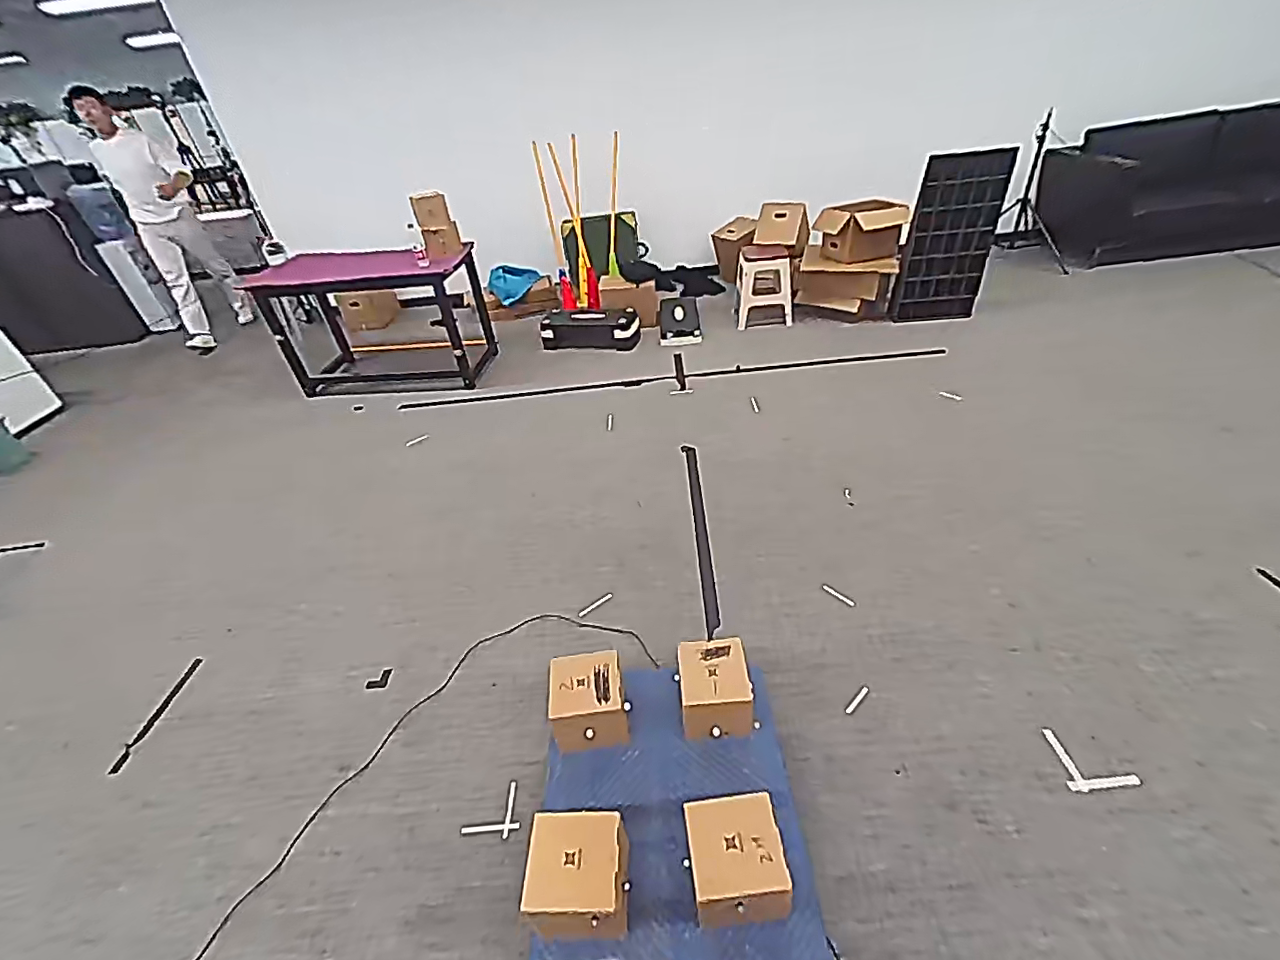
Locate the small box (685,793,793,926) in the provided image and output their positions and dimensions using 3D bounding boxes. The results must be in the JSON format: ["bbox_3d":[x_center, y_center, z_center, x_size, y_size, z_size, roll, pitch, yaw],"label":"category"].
[{"bbox_3d":[0.192,0.753,1.072,0.179,0.176,0.168,-8,37,0],"label":"small box"}]

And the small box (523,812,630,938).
[{"bbox_3d":[-0.117,0.787,1.077,0.179,0.176,0.168,-3,37,3],"label":"small box"}]

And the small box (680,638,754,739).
[{"bbox_3d":[0.189,0.527,1.368,0.168,0.176,0.179,-6,38,2],"label":"small box"}]
